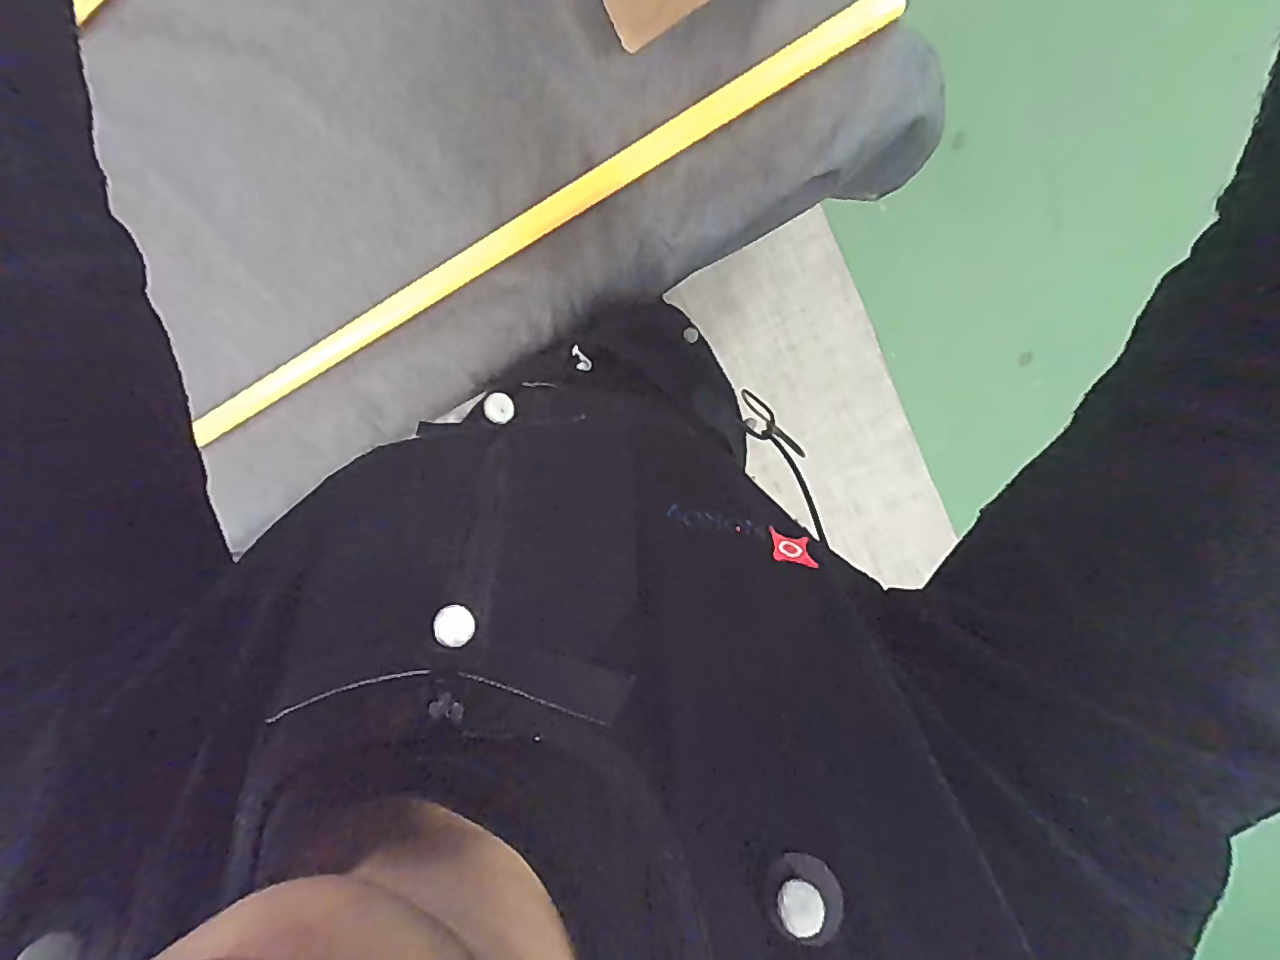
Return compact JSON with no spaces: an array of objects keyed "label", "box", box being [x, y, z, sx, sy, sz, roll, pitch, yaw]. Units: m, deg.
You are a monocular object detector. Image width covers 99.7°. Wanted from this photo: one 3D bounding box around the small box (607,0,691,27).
[{"label":"small box","box":[0.015,-0.451,0.357,0.168,0.176,0.179,-26,107,15]}]
